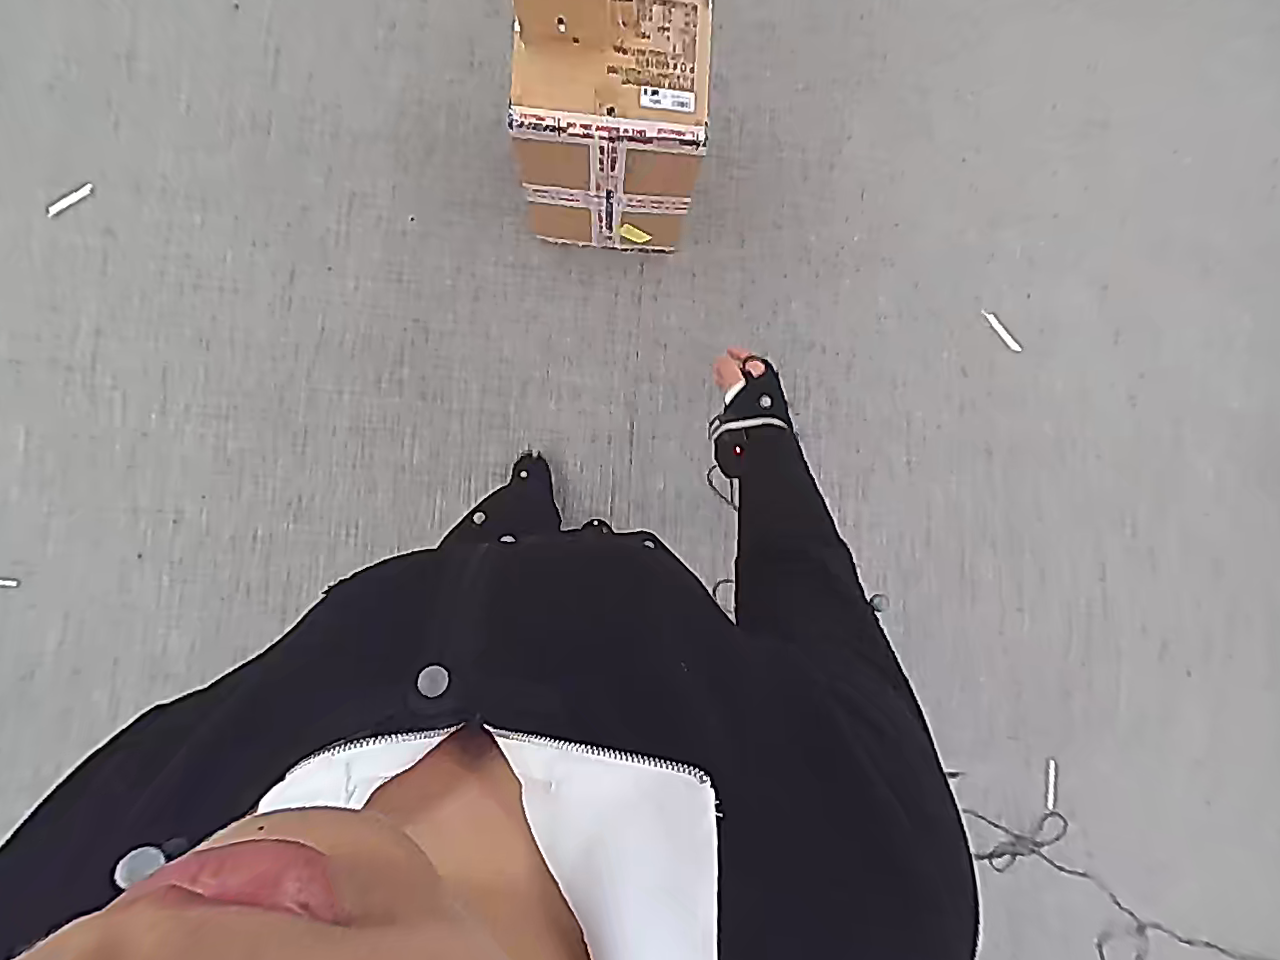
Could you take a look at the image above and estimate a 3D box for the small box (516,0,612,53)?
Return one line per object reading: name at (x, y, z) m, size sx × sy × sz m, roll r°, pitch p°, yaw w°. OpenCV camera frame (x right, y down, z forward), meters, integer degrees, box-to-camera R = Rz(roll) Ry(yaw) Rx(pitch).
small box at (-0.136, -0.920, 0.964) m, size 0.168 × 0.176 × 0.179 m, roll 3°, pitch 90°, yaw -2°
